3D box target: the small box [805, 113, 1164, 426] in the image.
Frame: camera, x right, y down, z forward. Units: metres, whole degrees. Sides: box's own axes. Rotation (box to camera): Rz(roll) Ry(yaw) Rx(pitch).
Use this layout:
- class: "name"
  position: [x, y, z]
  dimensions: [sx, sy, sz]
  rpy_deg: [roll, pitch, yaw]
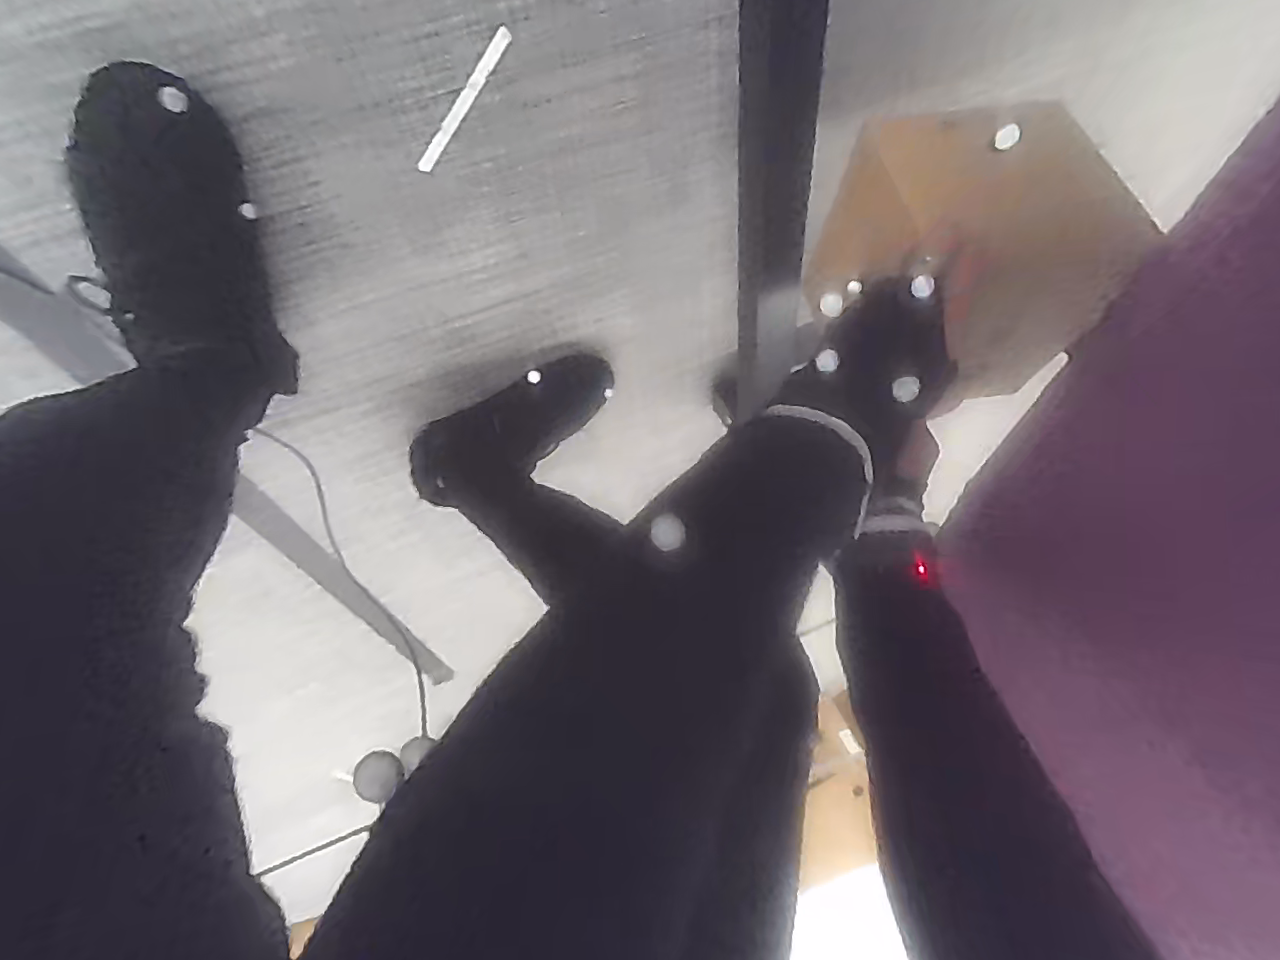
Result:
- class: "small box"
  position: [0.258, -0.170, 0.463]
  dimensions: [0.168, 0.176, 0.179]
  rpy_deg: [-10, 156, -5]
